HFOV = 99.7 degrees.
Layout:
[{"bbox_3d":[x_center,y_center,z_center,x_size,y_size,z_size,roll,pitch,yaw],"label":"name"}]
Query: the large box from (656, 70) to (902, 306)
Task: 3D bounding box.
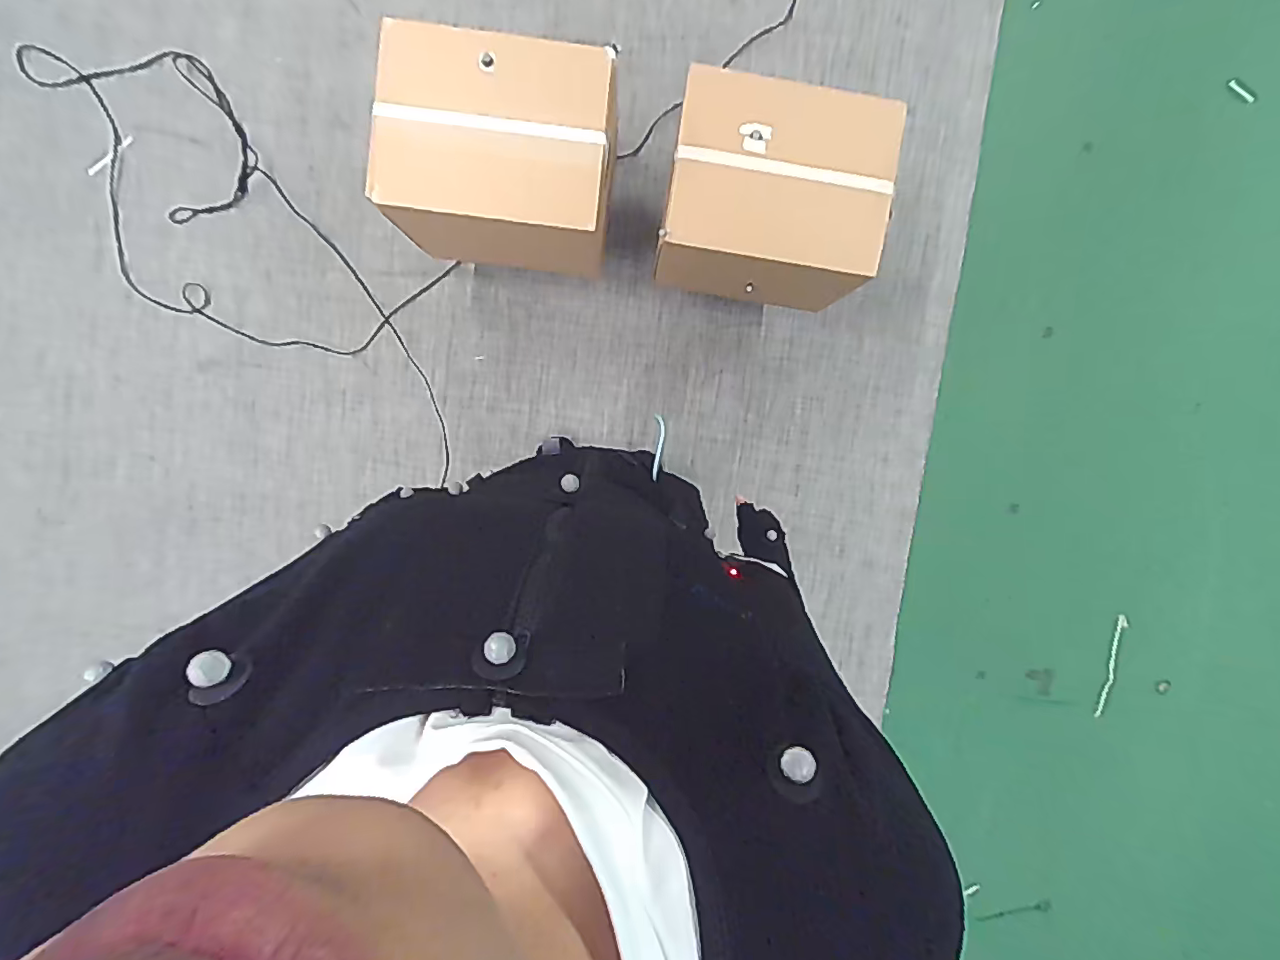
[{"bbox_3d":[0.261,-0.577,1.141,0.408,0.320,0.320,9,95,-3],"label":"large box"}]
